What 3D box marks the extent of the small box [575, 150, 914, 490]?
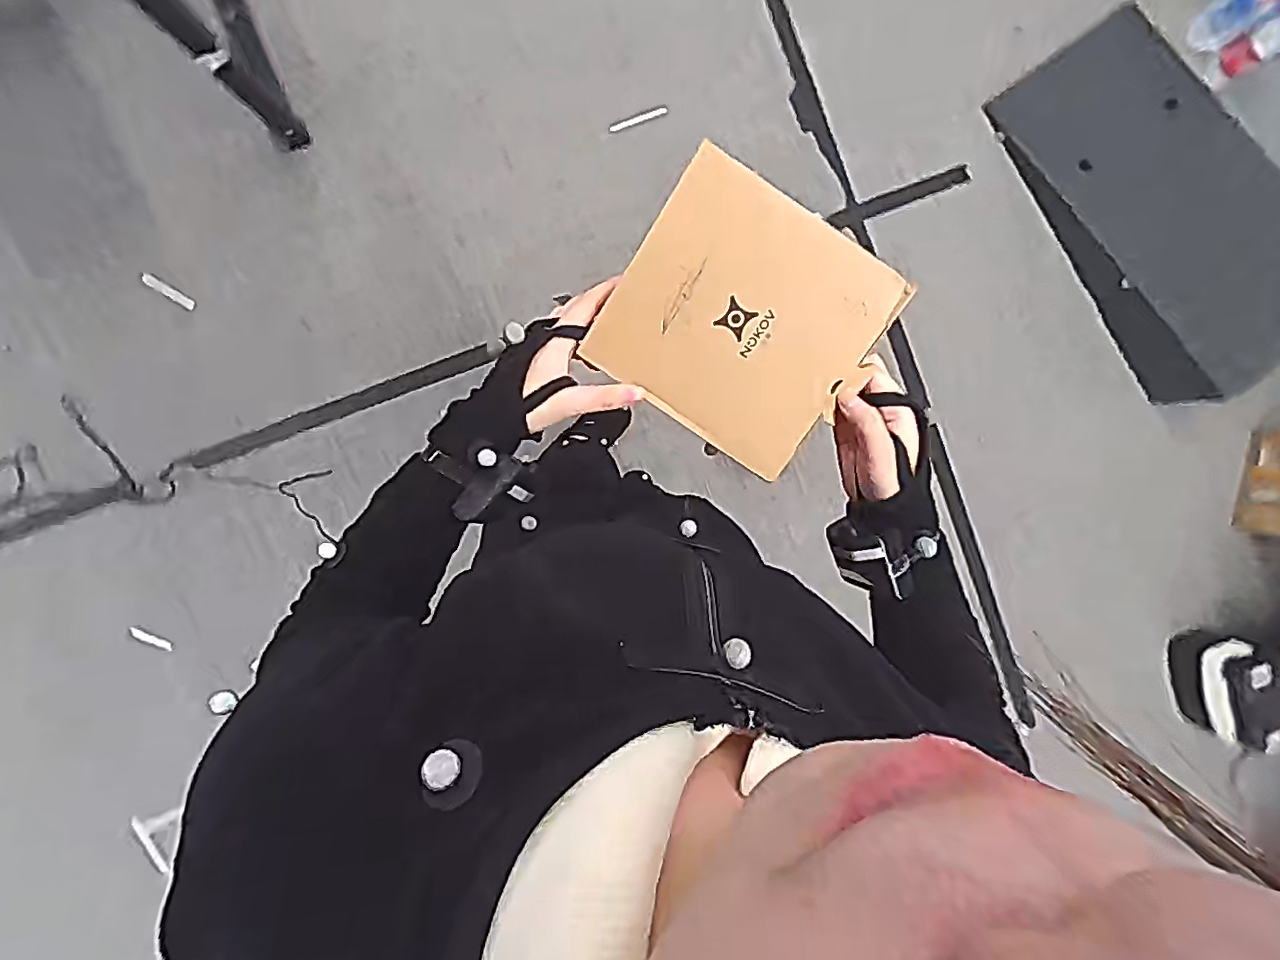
[{"bbox_3d":[0.074,-0.120,0.447,0.179,0.176,0.168,33,102,-2],"label":"small box"}]
